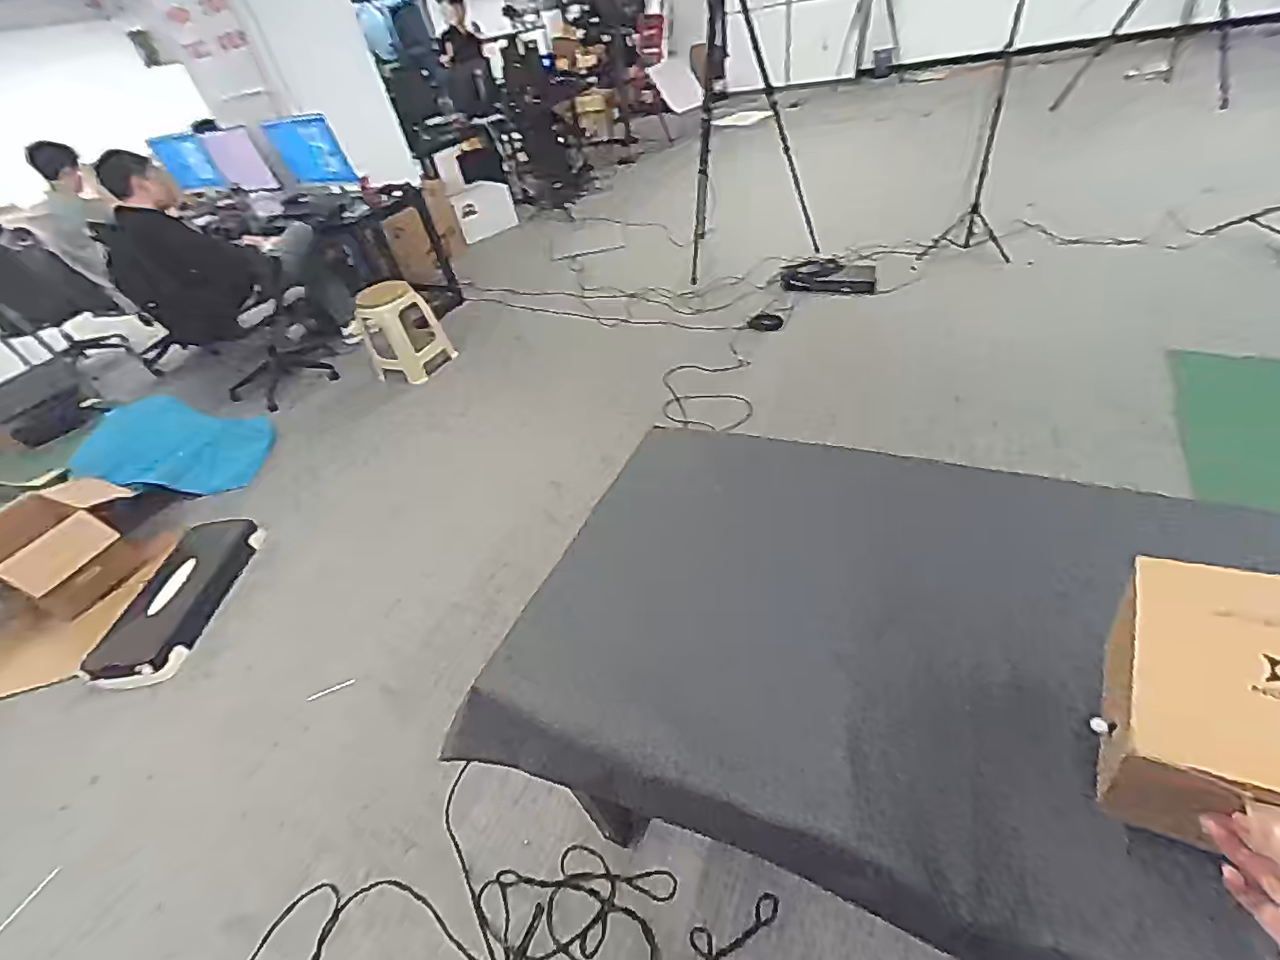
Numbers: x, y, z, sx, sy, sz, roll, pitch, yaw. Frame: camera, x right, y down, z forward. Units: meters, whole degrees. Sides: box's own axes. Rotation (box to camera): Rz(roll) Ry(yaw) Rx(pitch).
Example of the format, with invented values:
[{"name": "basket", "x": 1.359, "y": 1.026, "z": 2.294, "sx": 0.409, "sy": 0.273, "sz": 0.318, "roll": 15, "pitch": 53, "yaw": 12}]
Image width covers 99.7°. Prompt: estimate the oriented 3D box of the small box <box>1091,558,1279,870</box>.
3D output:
[{"name": "small box", "x": 0.486, "y": 0.193, "z": 0.438, "sx": 0.168, "sy": 0.176, "sz": 0.179, "roll": 7, "pitch": 52, "yaw": 35}]
